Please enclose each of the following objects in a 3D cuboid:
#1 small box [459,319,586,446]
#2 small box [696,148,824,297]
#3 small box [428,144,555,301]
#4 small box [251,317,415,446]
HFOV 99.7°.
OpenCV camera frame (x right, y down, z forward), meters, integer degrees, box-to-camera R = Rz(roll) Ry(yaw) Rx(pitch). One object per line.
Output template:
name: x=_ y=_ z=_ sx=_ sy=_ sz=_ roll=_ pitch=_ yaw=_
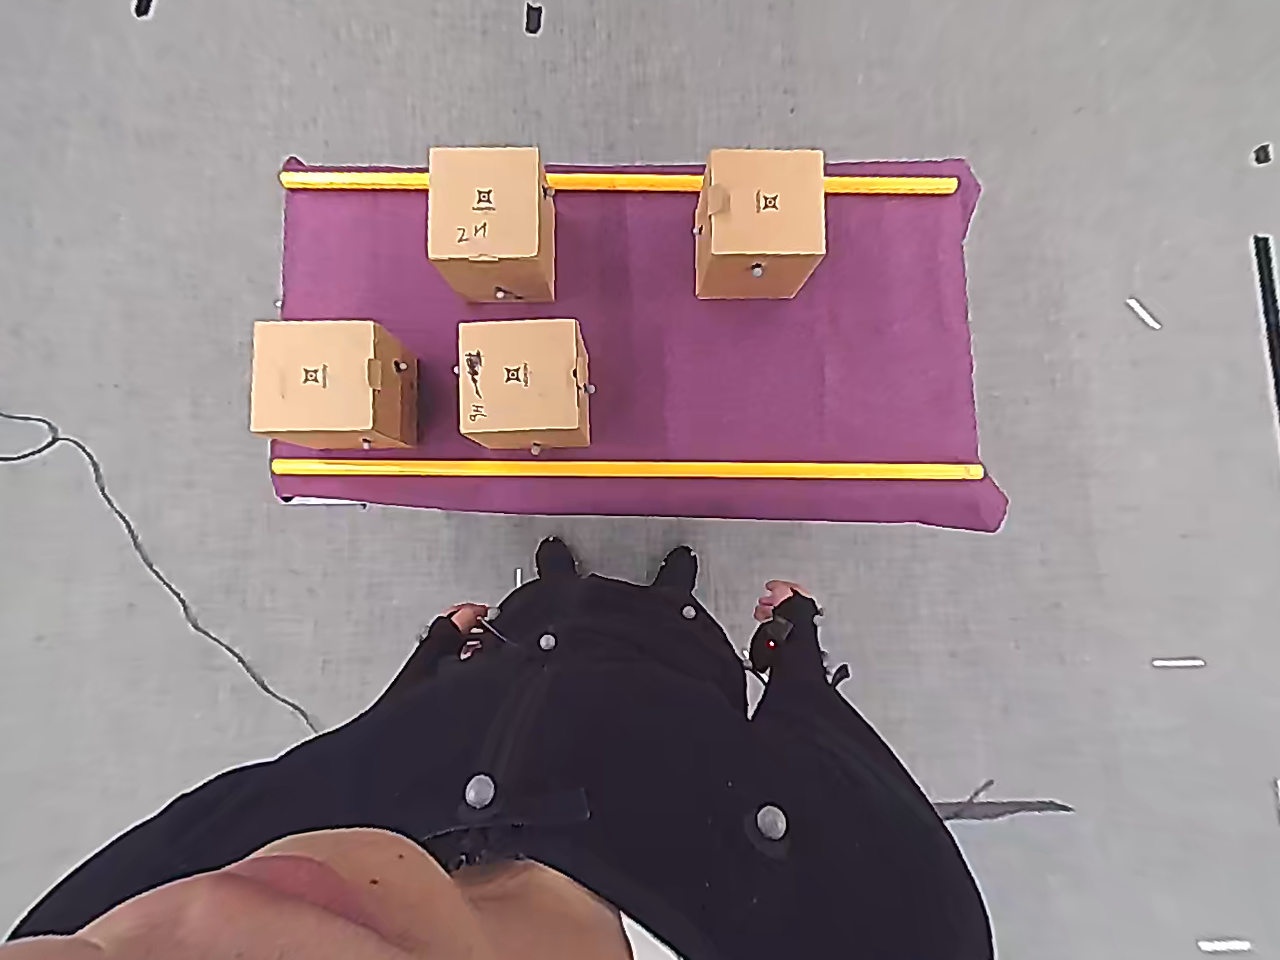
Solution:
small box: x=-0.178 y=-0.148 z=0.865 sx=0.179 sy=0.176 sz=0.168 roll=-1 pitch=85 yaw=-1
small box: x=0.189 y=-0.415 z=0.893 sx=0.179 sy=0.176 sz=0.168 roll=0 pitch=86 yaw=0
small box: x=-0.234 y=-0.413 z=0.887 sx=0.168 sy=0.176 sz=0.179 roll=0 pitch=87 yaw=0
small box: x=-0.473 y=-0.149 z=0.860 sx=0.179 sy=0.176 sz=0.168 roll=-1 pitch=85 yaw=-3
